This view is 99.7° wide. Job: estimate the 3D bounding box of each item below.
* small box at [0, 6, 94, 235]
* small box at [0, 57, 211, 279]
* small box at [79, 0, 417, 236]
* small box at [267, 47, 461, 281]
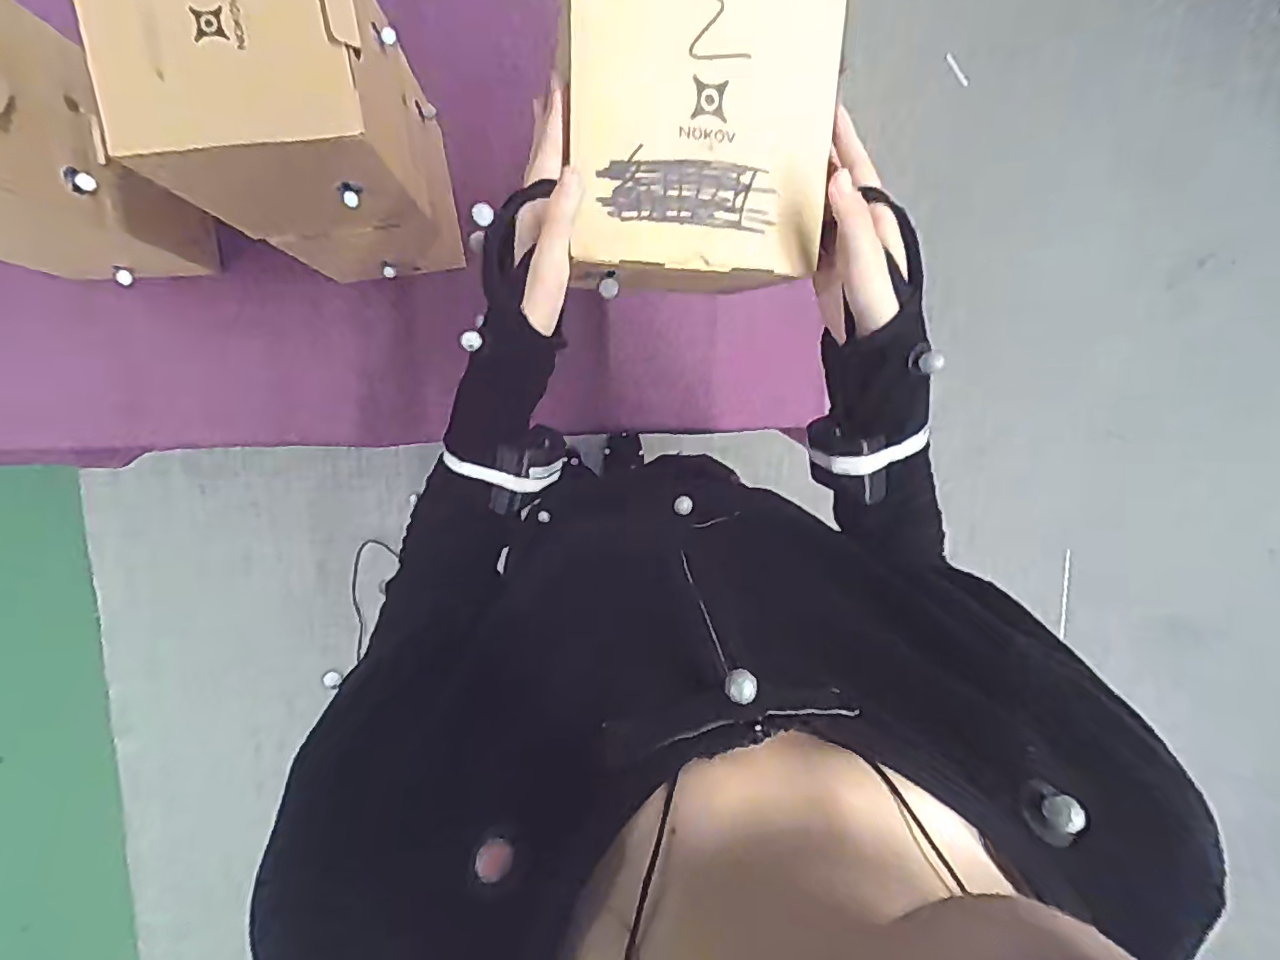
[{"bbox_3d":[-0.600,-0.308,0.433,0.179,0.176,0.168,-4,97,-4],"label":"small box"},{"bbox_3d":[-0.617,-0.327,0.595,0.179,0.176,0.168,-4,97,-5],"label":"small box"},{"bbox_3d":[-0.306,-0.325,0.462,0.179,0.176,0.168,-8,97,-4],"label":"small box"},{"bbox_3d":[-0.319,-0.347,0.623,0.168,0.176,0.179,-9,98,-4],"label":"small box"}]
